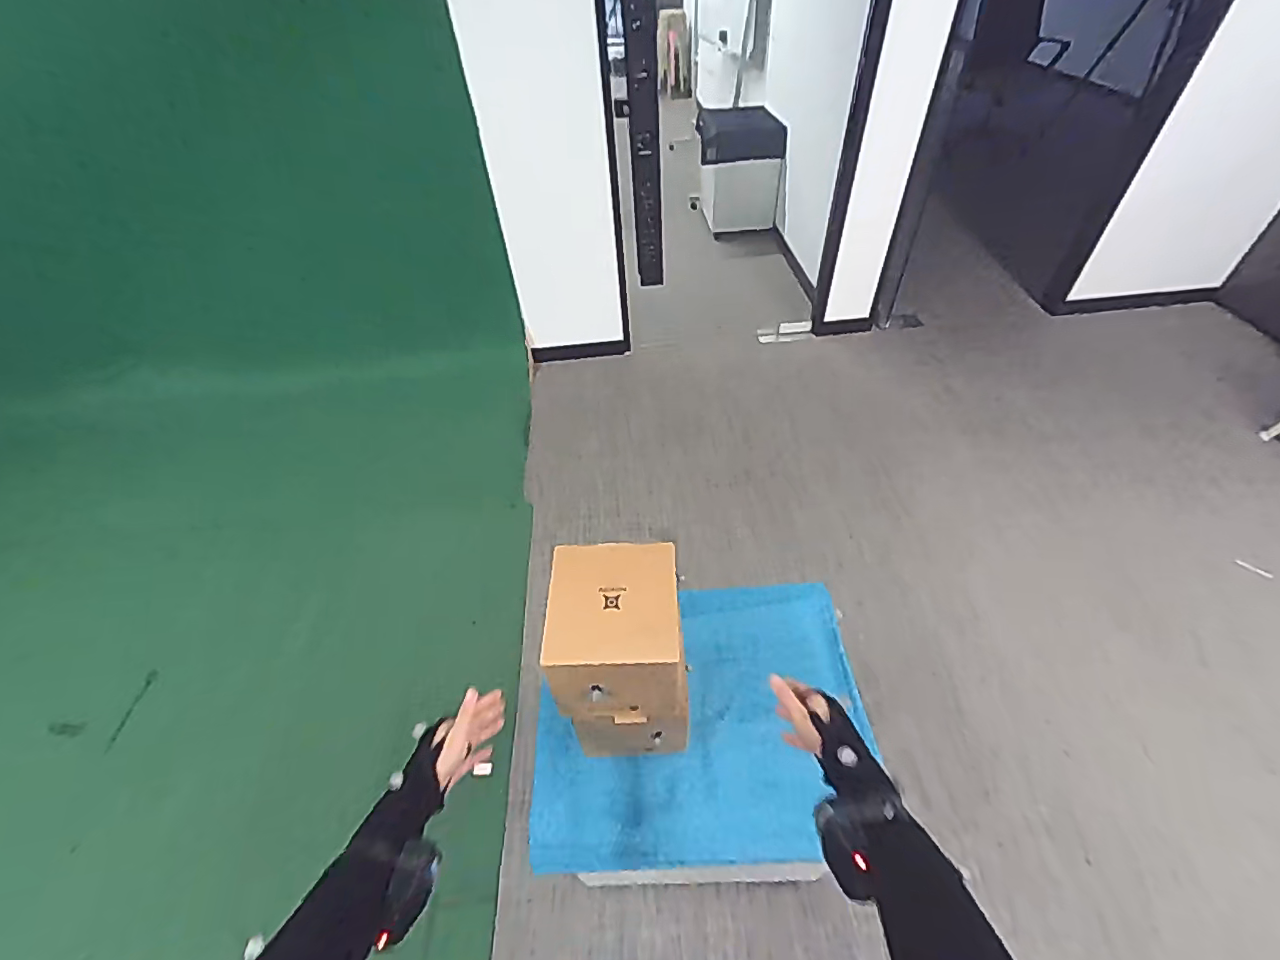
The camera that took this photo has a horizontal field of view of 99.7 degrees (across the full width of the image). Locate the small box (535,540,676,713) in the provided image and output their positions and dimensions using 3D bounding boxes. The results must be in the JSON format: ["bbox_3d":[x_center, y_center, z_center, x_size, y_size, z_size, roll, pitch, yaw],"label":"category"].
[{"bbox_3d":[-0.036,0.202,0.734,0.168,0.176,0.179,-1,45,1],"label":"small box"}]

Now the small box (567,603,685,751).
[{"bbox_3d":[-0.016,0.313,0.851,0.168,0.176,0.179,-2,46,0],"label":"small box"}]
